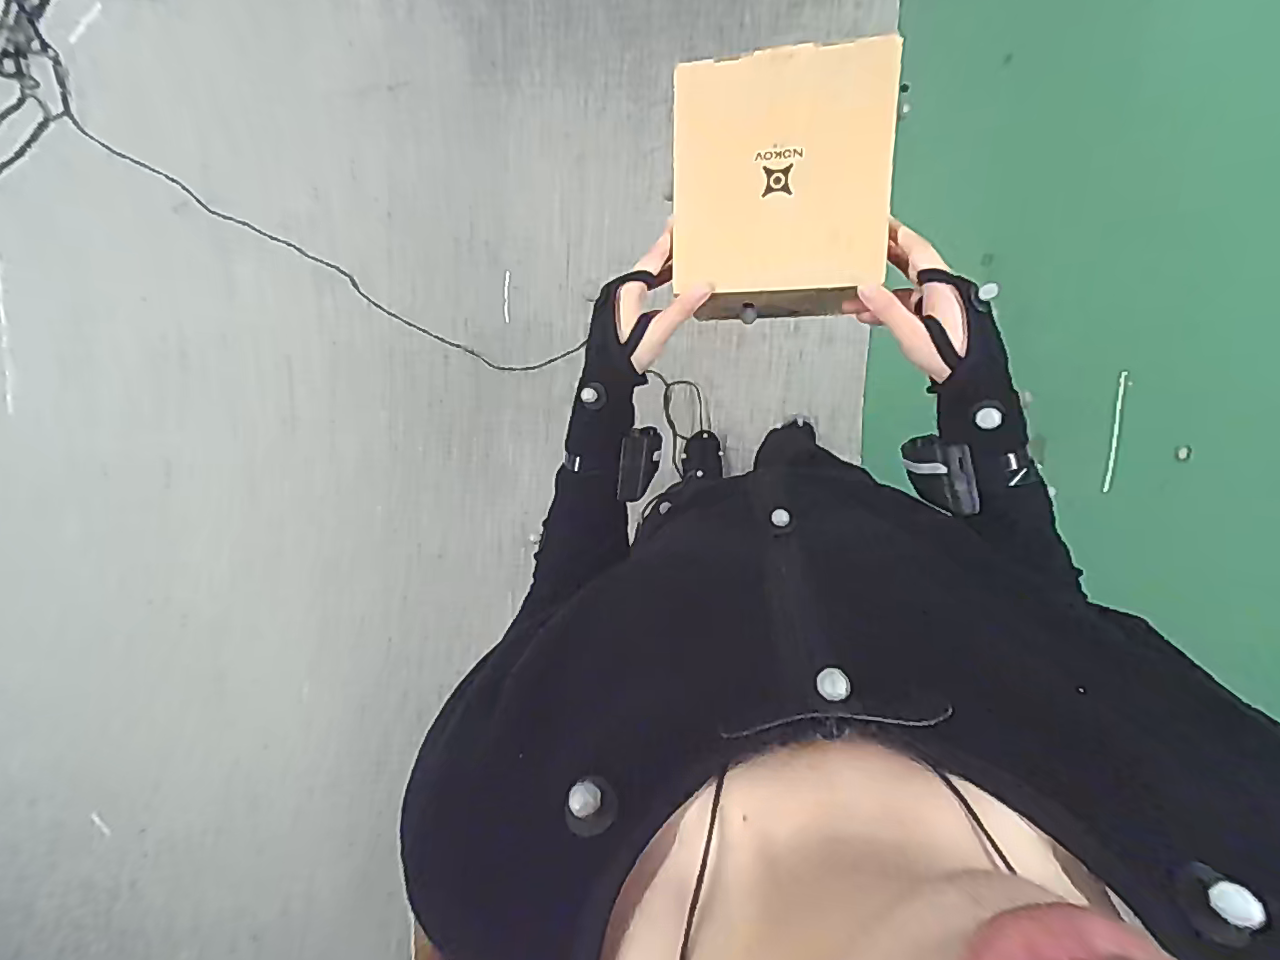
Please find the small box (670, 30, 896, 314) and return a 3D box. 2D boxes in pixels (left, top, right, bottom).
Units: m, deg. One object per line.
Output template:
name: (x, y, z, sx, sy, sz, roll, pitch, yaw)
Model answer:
small box: (0.123, -0.251, 0.493, 0.168, 0.176, 0.179, 2, 99, 13)
